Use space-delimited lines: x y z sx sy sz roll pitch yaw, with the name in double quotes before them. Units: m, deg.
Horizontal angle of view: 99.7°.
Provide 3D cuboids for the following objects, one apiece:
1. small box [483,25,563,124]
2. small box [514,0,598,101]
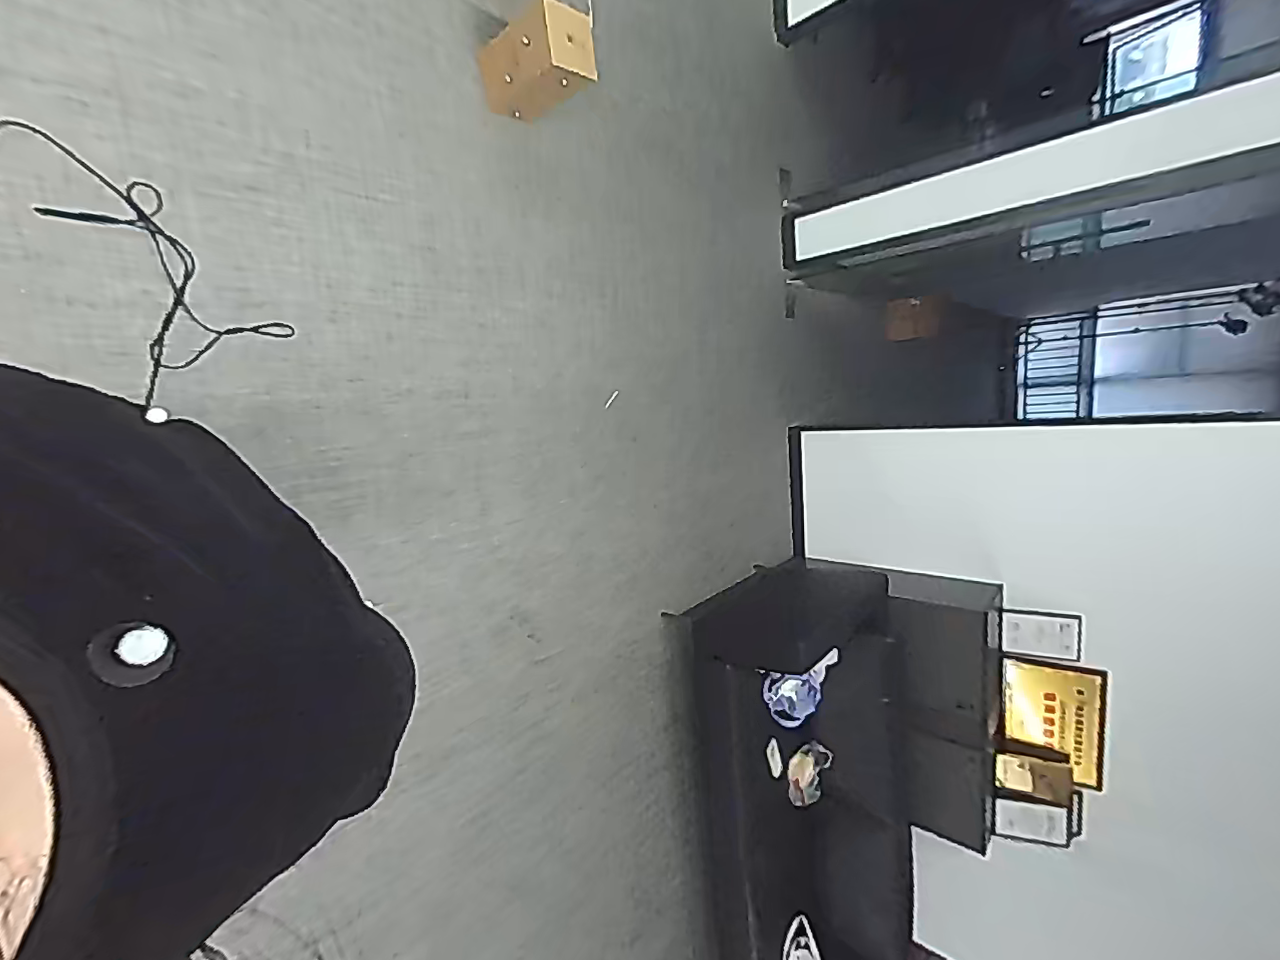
"small box" -0.368 -1.252 1.685 0.168 0.176 0.179 -20 108 -45
"small box" -0.249 -1.239 1.571 0.179 0.176 0.168 -20 108 -45
